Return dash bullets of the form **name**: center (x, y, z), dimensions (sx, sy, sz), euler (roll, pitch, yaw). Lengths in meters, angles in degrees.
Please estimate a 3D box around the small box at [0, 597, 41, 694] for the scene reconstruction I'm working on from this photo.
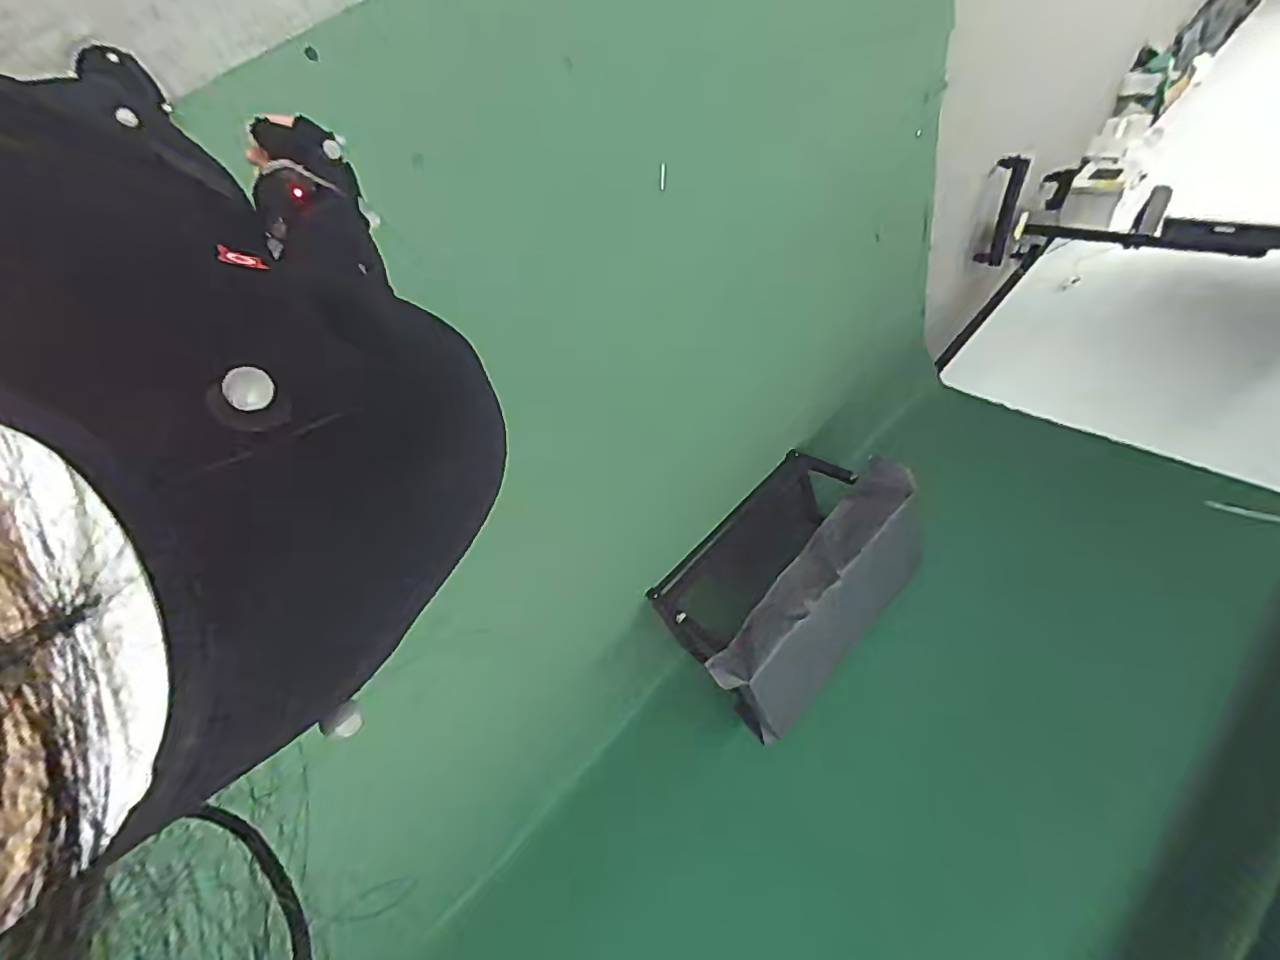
- **small box**: center (-1.360, 0.345, 1.076), dimensions (0.179, 0.176, 0.168), euler (-44, 140, -16)
